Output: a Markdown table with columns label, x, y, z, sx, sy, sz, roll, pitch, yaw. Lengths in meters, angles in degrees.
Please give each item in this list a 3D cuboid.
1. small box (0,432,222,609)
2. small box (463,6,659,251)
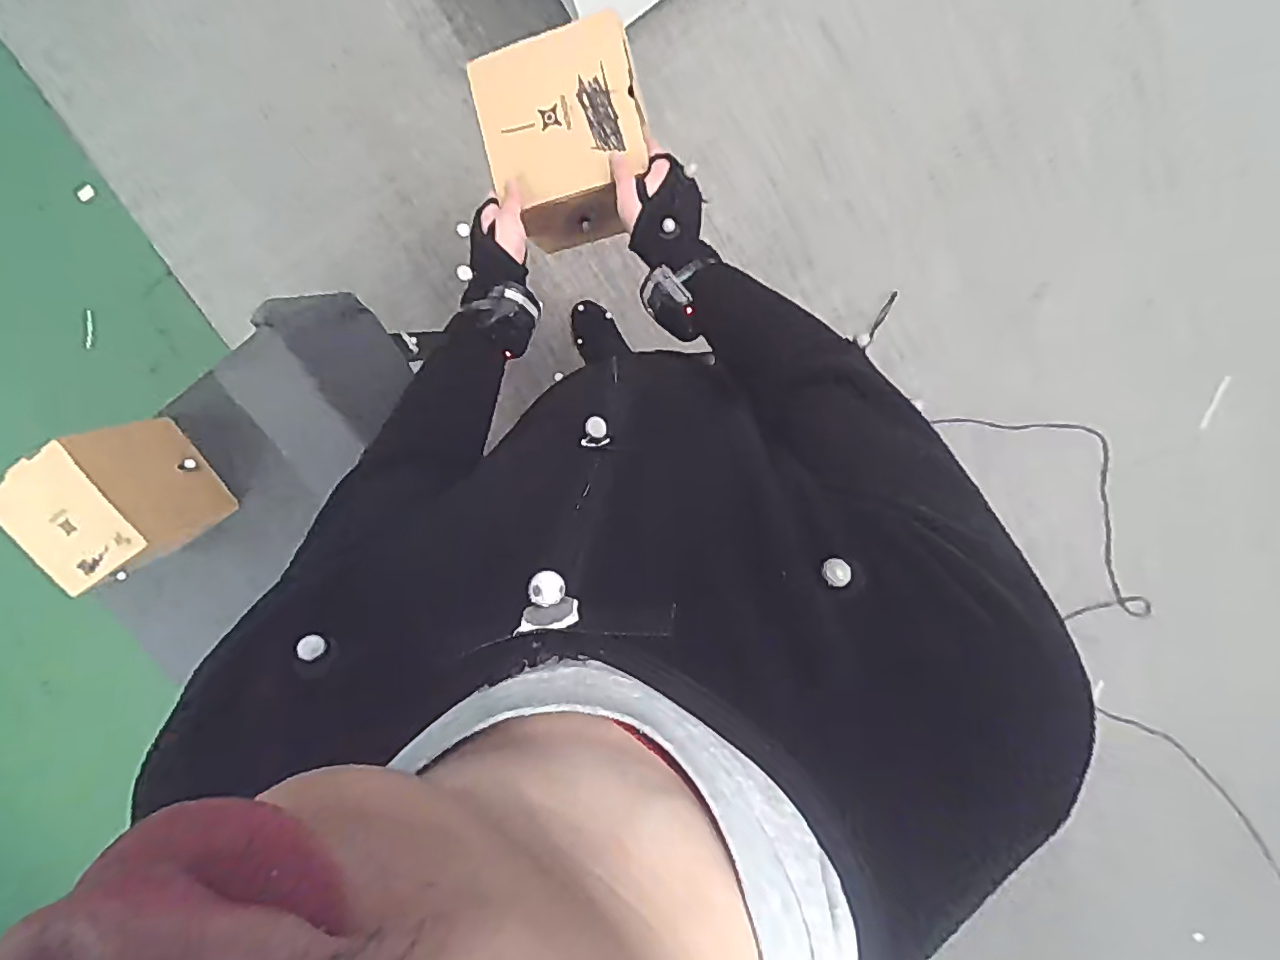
| label | x | y | z | sx | sy | sz | roll | pitch | yaw |
| --- | --- | --- | --- | --- | --- | --- | --- | --- | --- |
| small box | -0.770 | 0.045 | 0.774 | 0.168 | 0.176 | 0.179 | -30 | 101 | 10 |
| small box | -0.077 | -0.393 | 0.641 | 0.179 | 0.176 | 0.168 | -11 | 96 | 9 |
